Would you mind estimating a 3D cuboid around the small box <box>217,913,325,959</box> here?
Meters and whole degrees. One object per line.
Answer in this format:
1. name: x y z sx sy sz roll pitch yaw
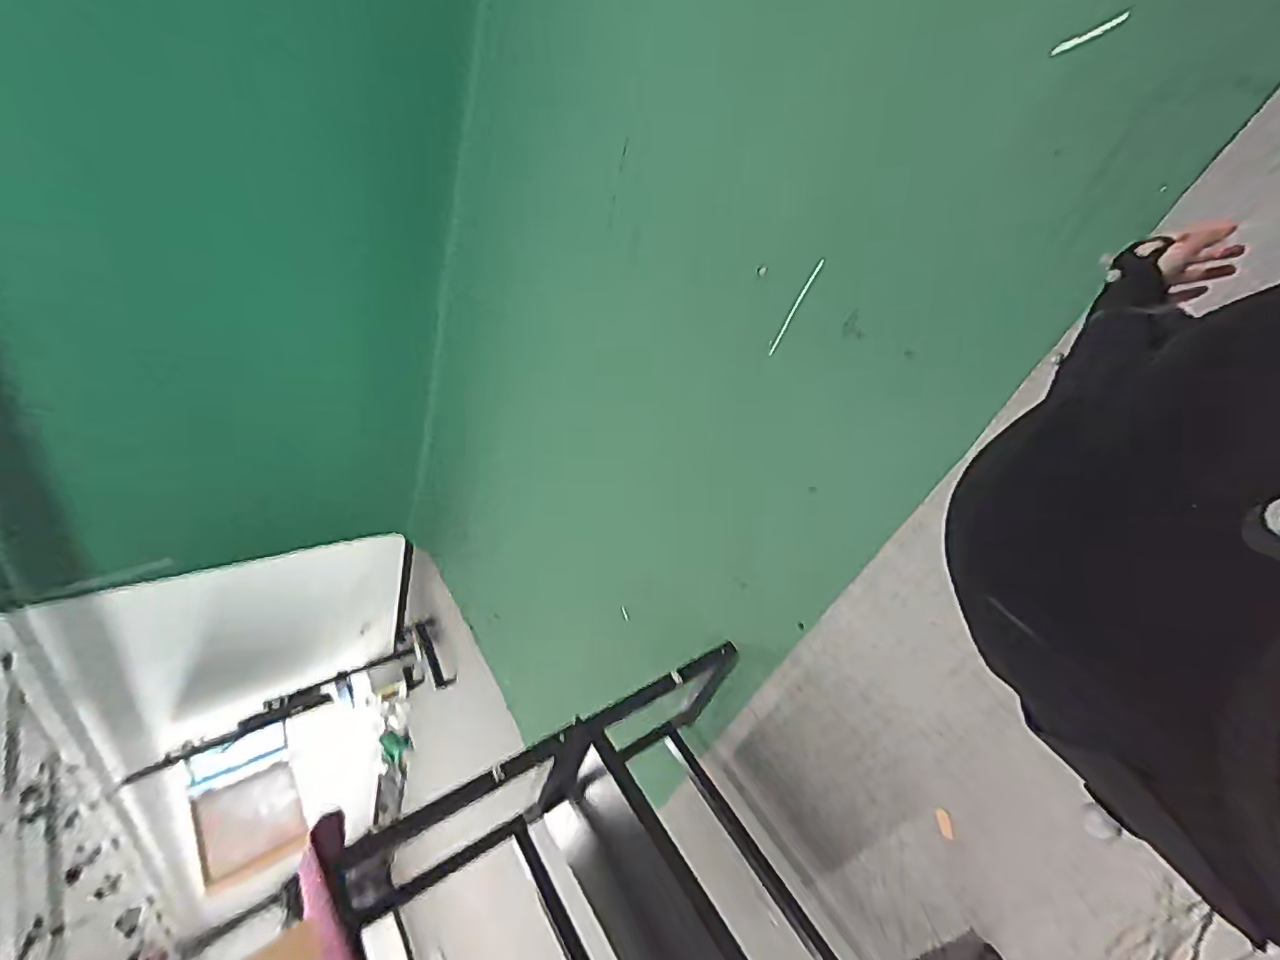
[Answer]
1. small box: -0.746 1.040 1.110 0.179 0.176 0.168 47 131 30
